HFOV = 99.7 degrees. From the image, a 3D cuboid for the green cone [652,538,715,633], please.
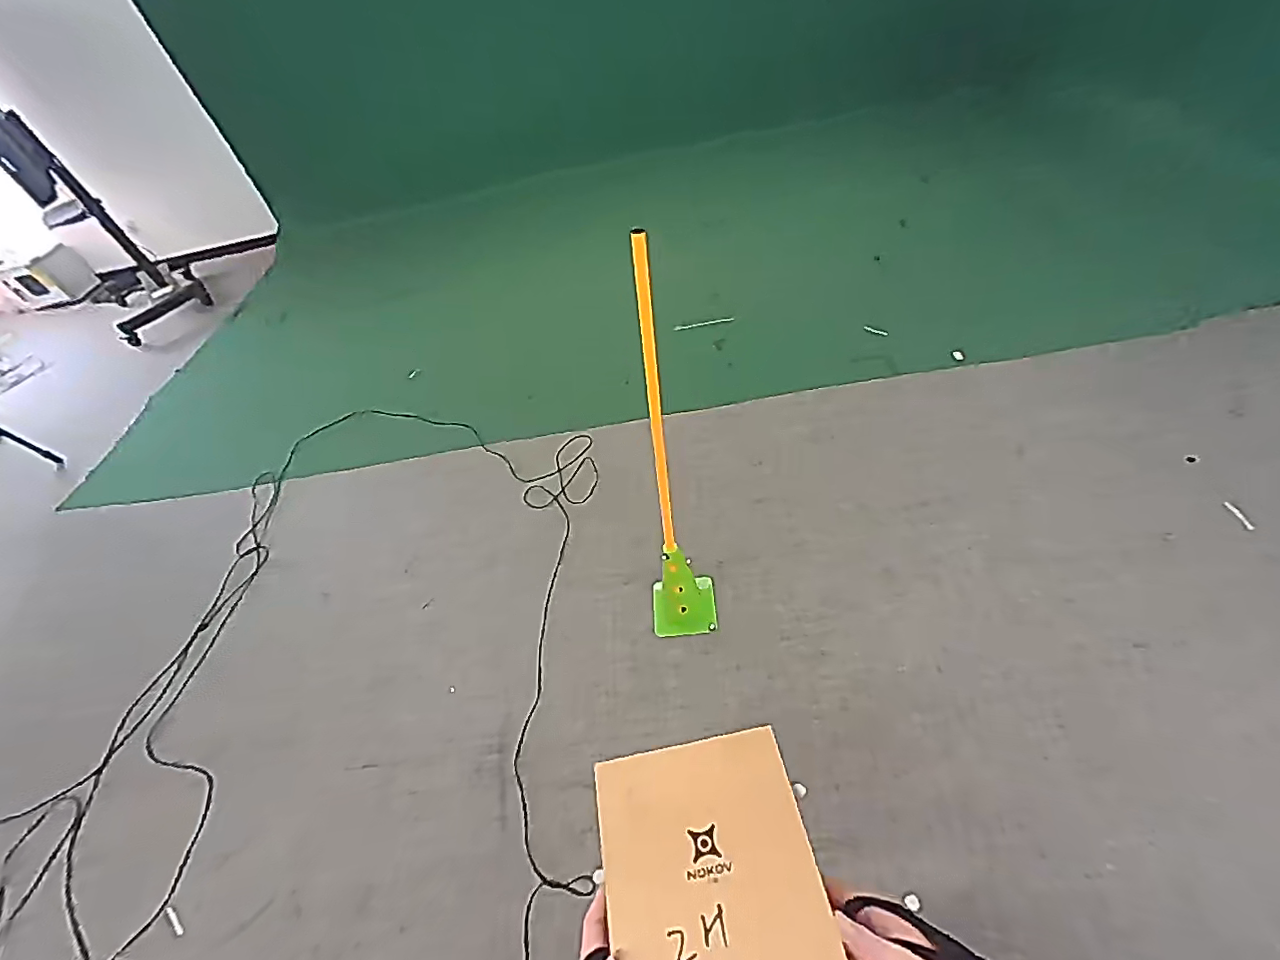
[{"bbox_3d":[0.108,0.290,1.649,0.202,0.368,0.200,-8,48,7],"label":"green cone"}]
